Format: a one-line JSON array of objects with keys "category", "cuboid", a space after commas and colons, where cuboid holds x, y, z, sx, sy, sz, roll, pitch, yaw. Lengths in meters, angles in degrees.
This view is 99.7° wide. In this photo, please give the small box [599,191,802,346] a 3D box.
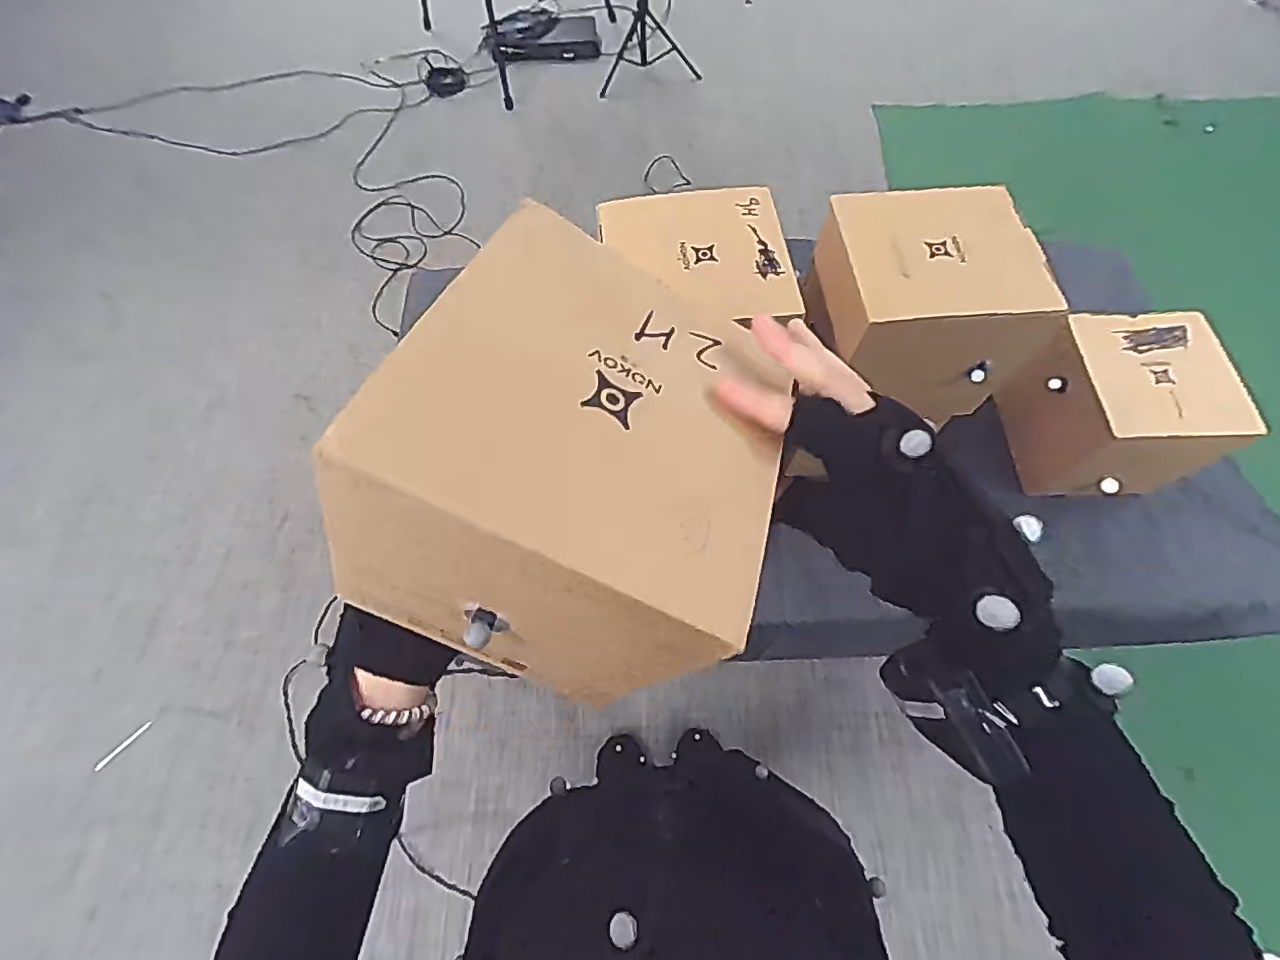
[{"category": "small box", "cuboid": [0.056, -0.175, 0.585, 0.179, 0.176, 0.168, -6, 66, 0]}]

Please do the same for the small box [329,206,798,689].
[{"category": "small box", "cuboid": [-0.038, -0.002, 0.304, 0.168, 0.176, 0.179, 27, 54, -10]}]
